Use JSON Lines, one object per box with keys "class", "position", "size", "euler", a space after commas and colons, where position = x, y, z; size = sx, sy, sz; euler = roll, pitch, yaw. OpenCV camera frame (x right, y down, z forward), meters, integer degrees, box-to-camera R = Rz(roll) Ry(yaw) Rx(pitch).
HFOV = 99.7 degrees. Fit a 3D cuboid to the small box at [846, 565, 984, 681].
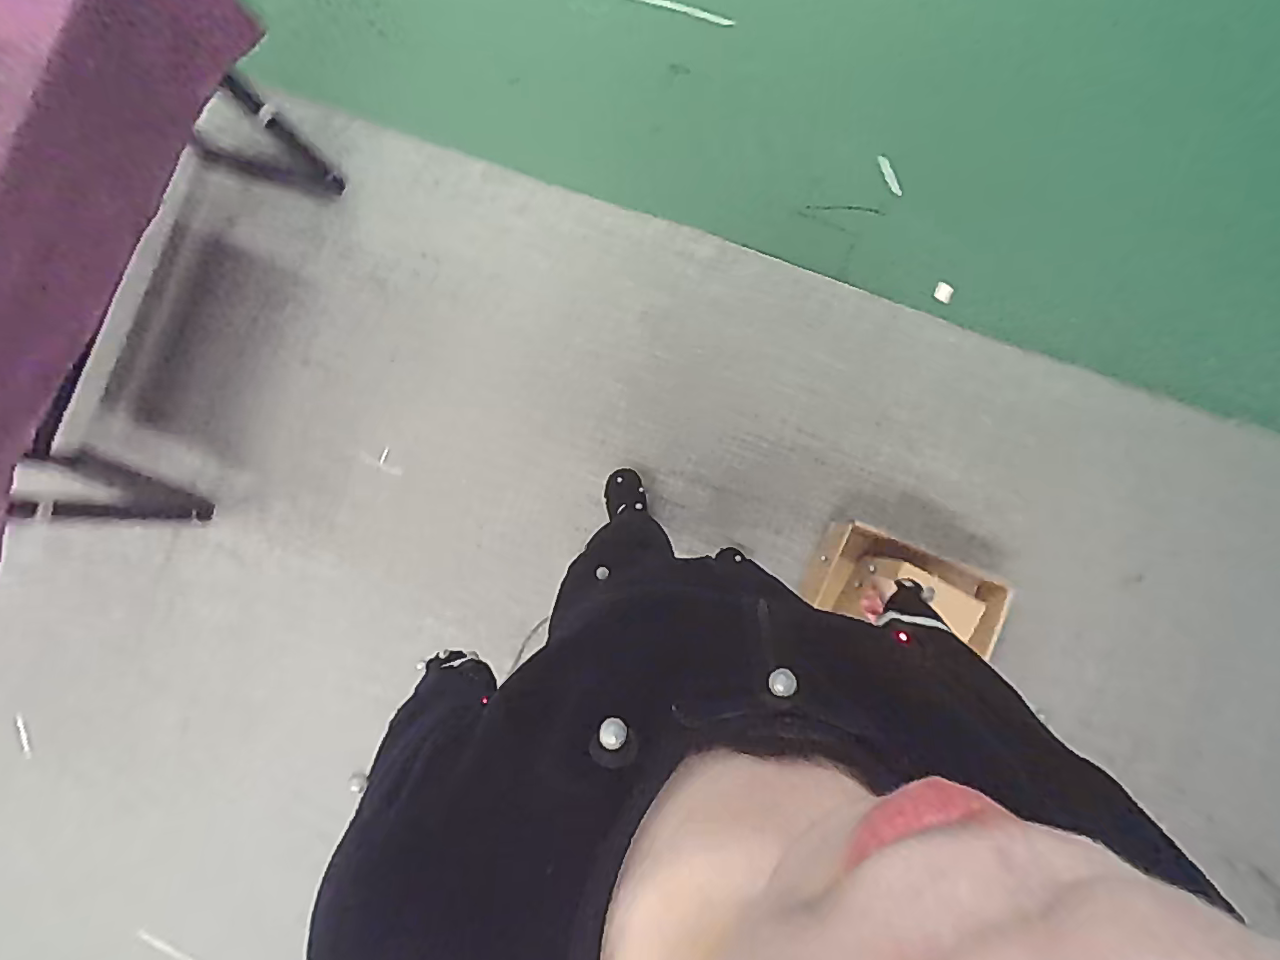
{"class": "small box", "position": [0.568, 0.291, 1.147], "size": [0.179, 0.176, 0.168], "euler": [30, 89, 7]}
